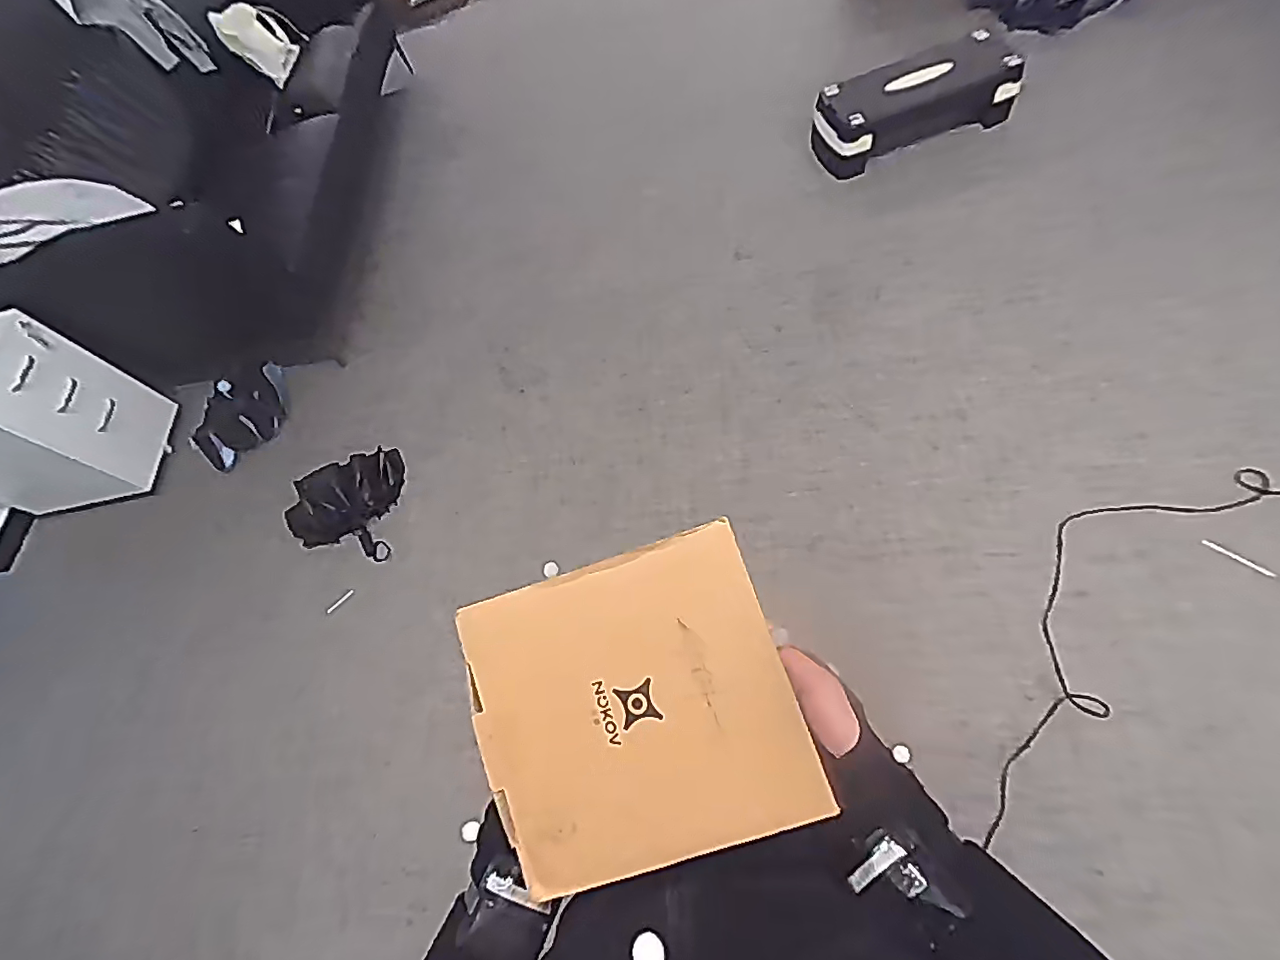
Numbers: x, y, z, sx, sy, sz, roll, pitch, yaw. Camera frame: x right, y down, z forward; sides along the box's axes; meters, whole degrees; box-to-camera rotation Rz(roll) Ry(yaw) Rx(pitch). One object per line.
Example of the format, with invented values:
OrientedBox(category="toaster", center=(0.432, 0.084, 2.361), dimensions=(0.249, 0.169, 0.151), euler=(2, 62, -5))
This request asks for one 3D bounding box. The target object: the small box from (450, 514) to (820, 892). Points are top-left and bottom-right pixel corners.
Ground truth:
OrientedBox(category="small box", center=(0.001, 0.135, 0.383), dimensions=(0.179, 0.176, 0.168), euler=(-20, 80, 4))
